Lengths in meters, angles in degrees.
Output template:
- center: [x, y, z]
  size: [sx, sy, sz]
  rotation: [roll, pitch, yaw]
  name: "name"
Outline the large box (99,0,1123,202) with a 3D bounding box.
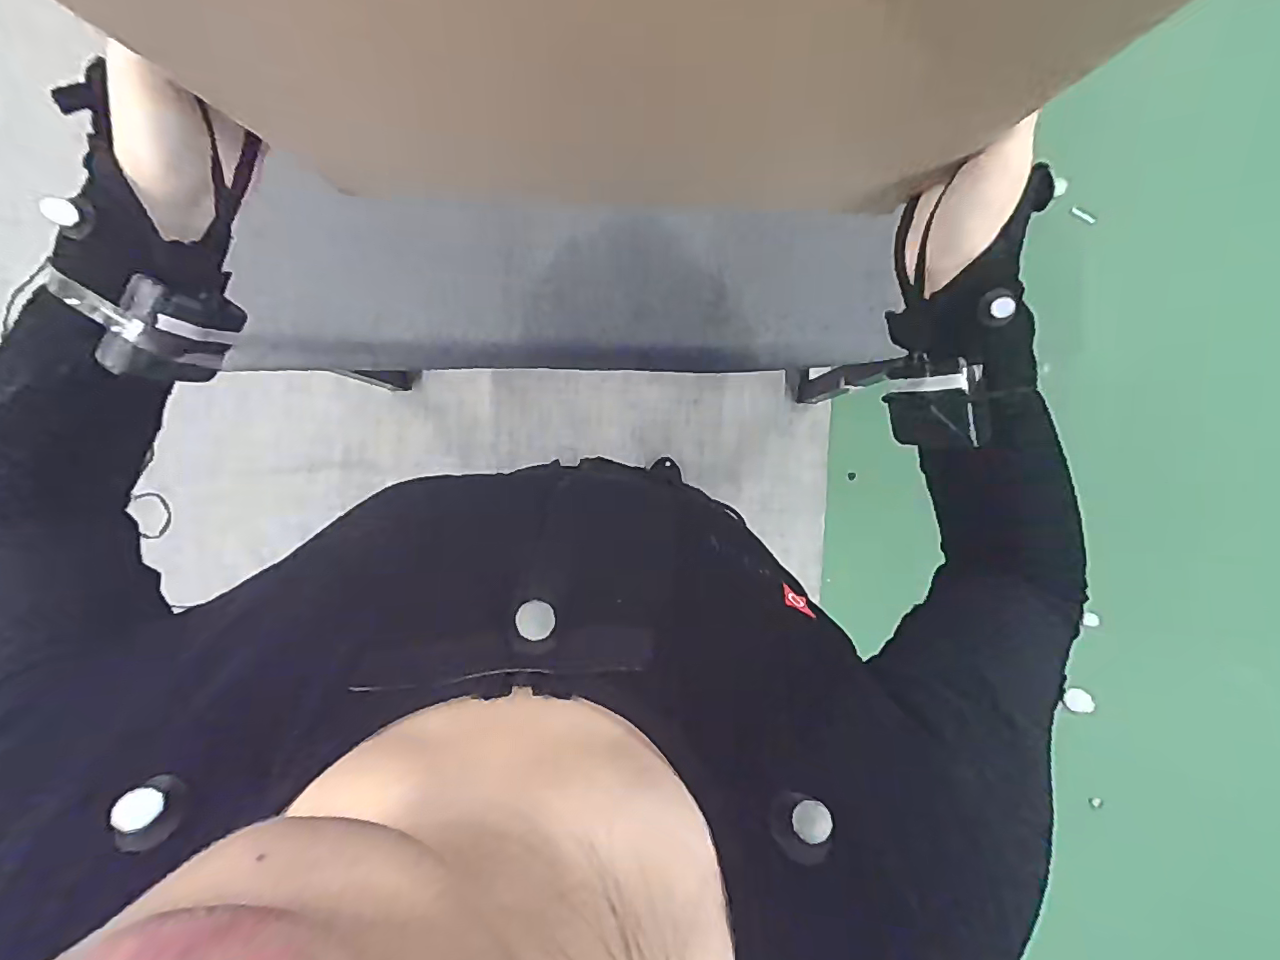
- center: [-0.012, -0.337, 0.238]
  size: [0.408, 0.320, 0.320]
  rotation: [0, 100, -1]
  name: "large box"
